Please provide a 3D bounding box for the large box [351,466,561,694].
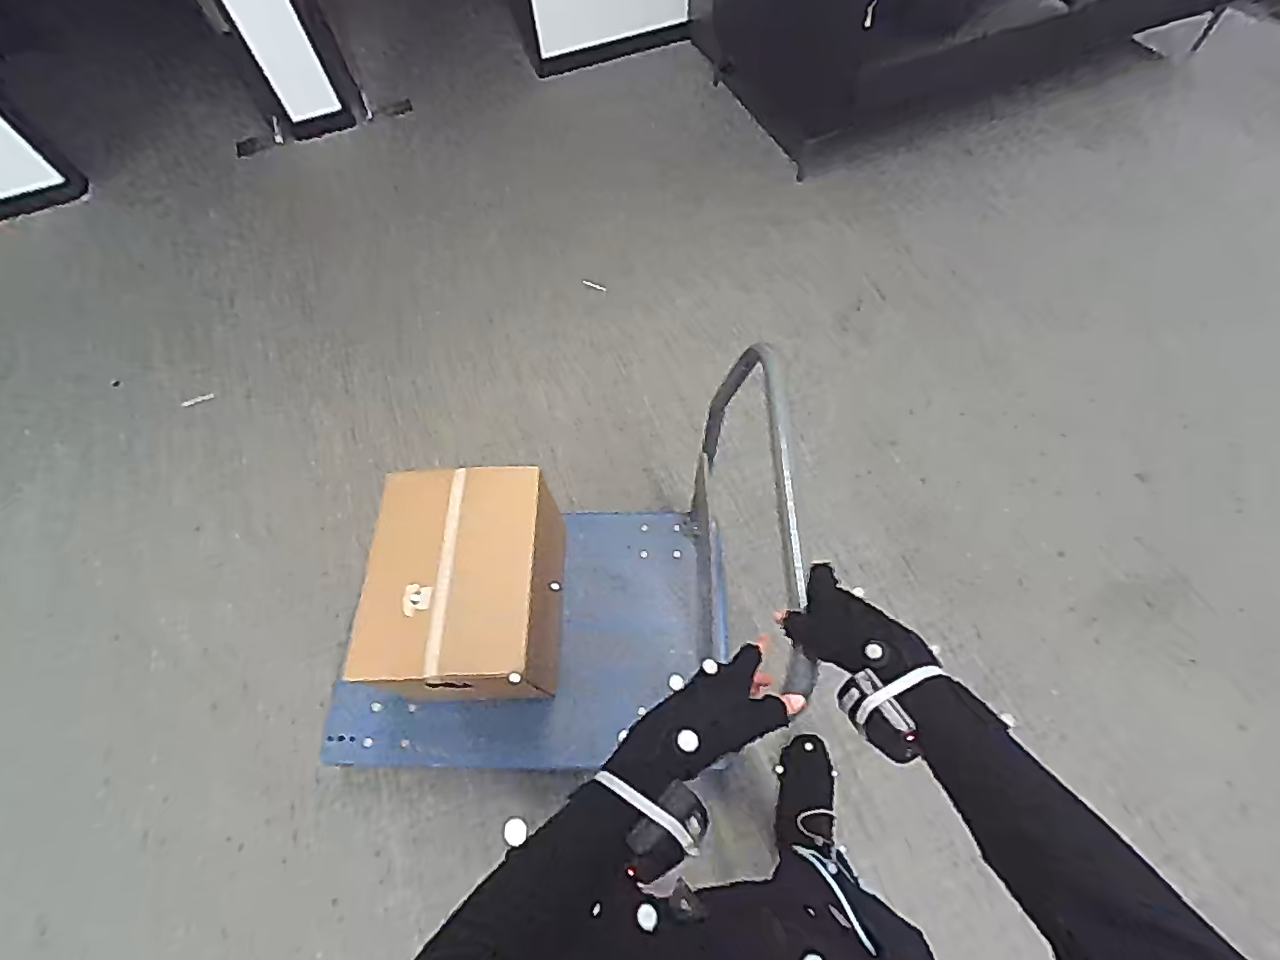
[{"bbox_3d":[-0.346,0.222,1.144,0.320,0.320,0.408,-3,63,3],"label":"large box"}]
